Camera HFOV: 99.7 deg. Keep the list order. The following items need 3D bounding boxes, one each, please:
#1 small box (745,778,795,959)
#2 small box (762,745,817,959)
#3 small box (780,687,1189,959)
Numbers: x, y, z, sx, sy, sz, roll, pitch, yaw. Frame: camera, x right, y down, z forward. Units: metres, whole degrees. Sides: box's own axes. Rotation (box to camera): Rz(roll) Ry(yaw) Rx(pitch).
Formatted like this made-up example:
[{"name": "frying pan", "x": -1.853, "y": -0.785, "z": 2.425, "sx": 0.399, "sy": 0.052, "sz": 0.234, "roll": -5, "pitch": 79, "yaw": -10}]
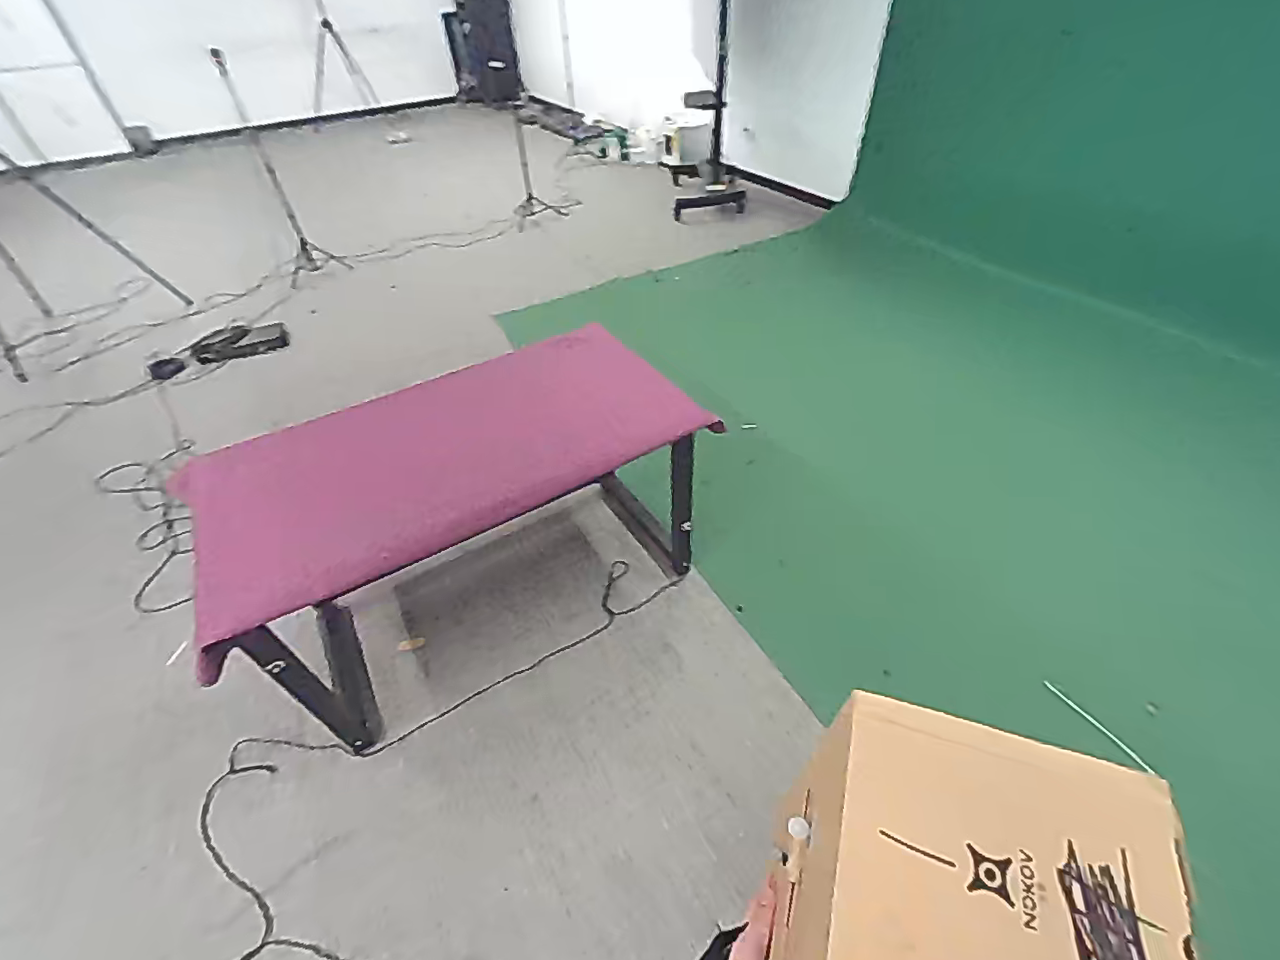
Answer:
[{"name": "small box", "x": 0.226, "y": 0.472, "z": 0.613, "sx": 0.179, "sy": 0.176, "sz": 0.168, "roll": 15, "pitch": 54, "yaw": 16}, {"name": "small box", "x": 0.214, "y": 0.369, "z": 0.486, "sx": 0.179, "sy": 0.176, "sz": 0.168, "roll": 13, "pitch": 54, "yaw": 16}, {"name": "small box", "x": 0.202, "y": 0.266, "z": 0.358, "sx": 0.179, "sy": 0.176, "sz": 0.168, "roll": 12, "pitch": 54, "yaw": 15}]
